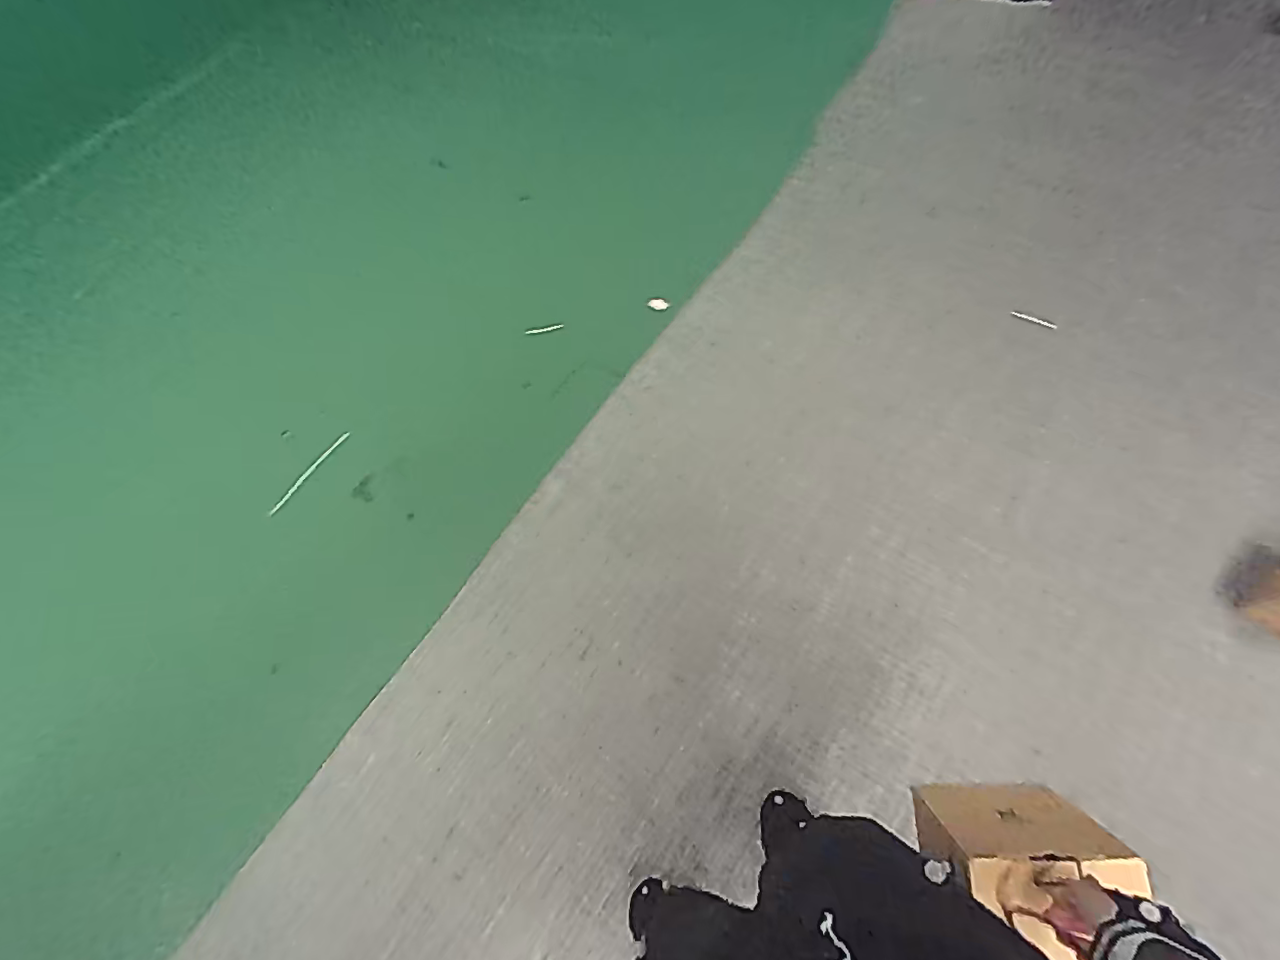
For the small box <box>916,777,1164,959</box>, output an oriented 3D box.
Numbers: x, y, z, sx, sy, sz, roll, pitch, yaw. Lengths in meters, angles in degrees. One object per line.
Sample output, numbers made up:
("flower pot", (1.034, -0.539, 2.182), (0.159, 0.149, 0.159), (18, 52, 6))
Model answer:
("small box", (0.430, 0.461, 0.607), (0.168, 0.179, 0.176), (-3, 85, 7))
